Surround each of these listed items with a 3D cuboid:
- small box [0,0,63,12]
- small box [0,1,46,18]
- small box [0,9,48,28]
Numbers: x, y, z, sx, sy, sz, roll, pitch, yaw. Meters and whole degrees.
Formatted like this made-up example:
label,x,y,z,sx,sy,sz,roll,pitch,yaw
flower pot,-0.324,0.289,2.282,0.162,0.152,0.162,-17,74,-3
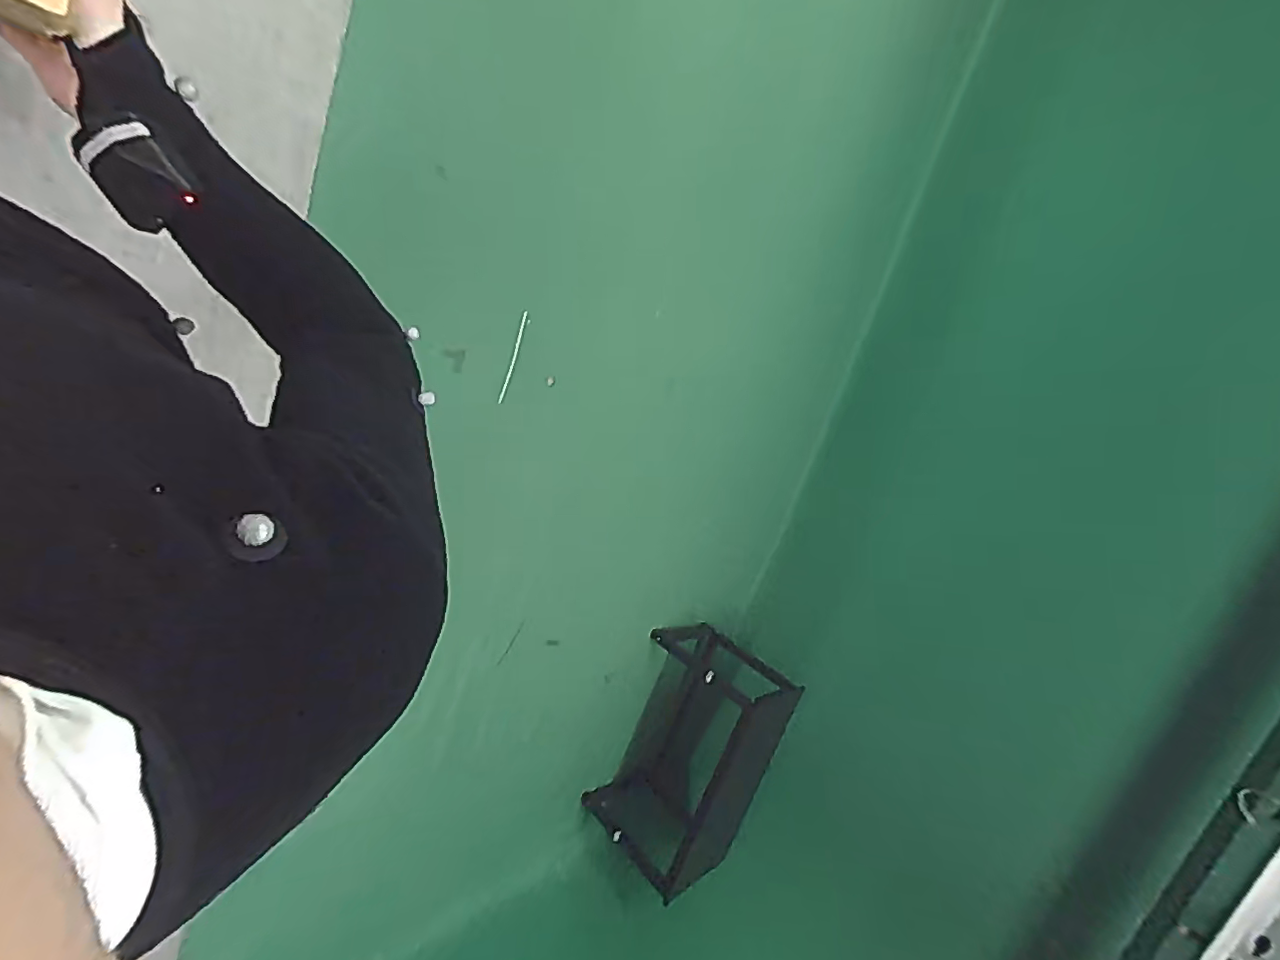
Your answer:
label,x,y,z,sx,sy,sz,roll,pitch,yaw
small box,-0.298,-0.301,0.175,0.168,0.176,0.179,4,113,-49
small box,-0.405,-0.378,0.268,0.168,0.176,0.179,6,111,-49
small box,-0.514,-0.454,0.365,0.168,0.176,0.179,6,113,-49
